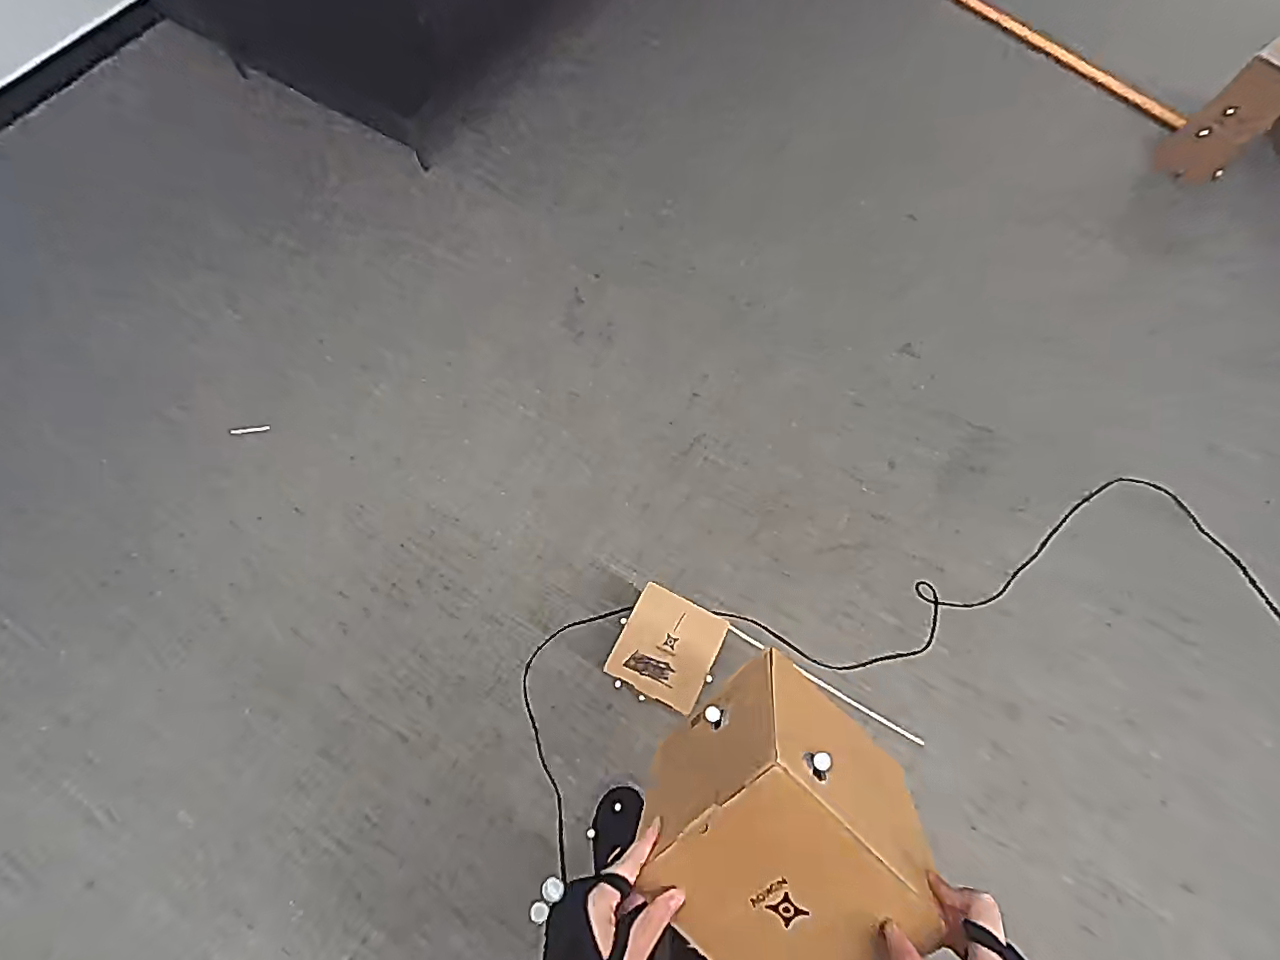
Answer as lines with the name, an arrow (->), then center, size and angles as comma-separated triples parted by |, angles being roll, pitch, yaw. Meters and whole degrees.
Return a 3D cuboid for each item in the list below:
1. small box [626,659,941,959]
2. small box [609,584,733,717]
small box -> 0.120, 0.300, 0.485 | 0.179, 0.176, 0.168 | 42, 106, 3
small box -> 0.057, 0.323, 1.017 | 0.168, 0.176, 0.179 | 25, 71, 9
